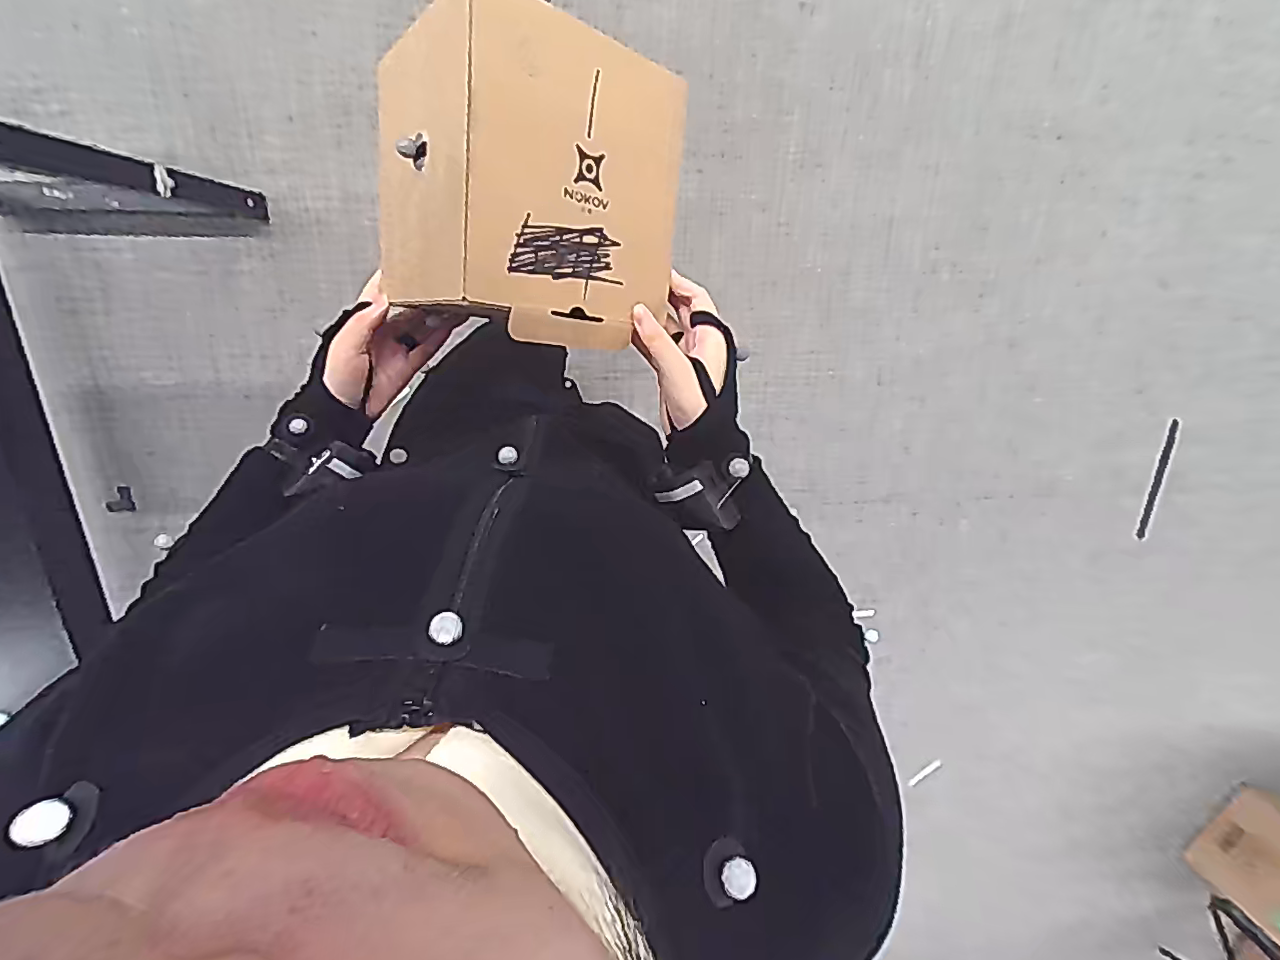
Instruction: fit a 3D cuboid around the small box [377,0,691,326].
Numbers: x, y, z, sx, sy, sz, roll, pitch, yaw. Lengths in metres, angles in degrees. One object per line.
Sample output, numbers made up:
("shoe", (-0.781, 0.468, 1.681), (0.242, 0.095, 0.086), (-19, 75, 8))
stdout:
("small box", (-0.086, -0.216, 0.405), (0.168, 0.176, 0.179), (-5, 106, -41))
